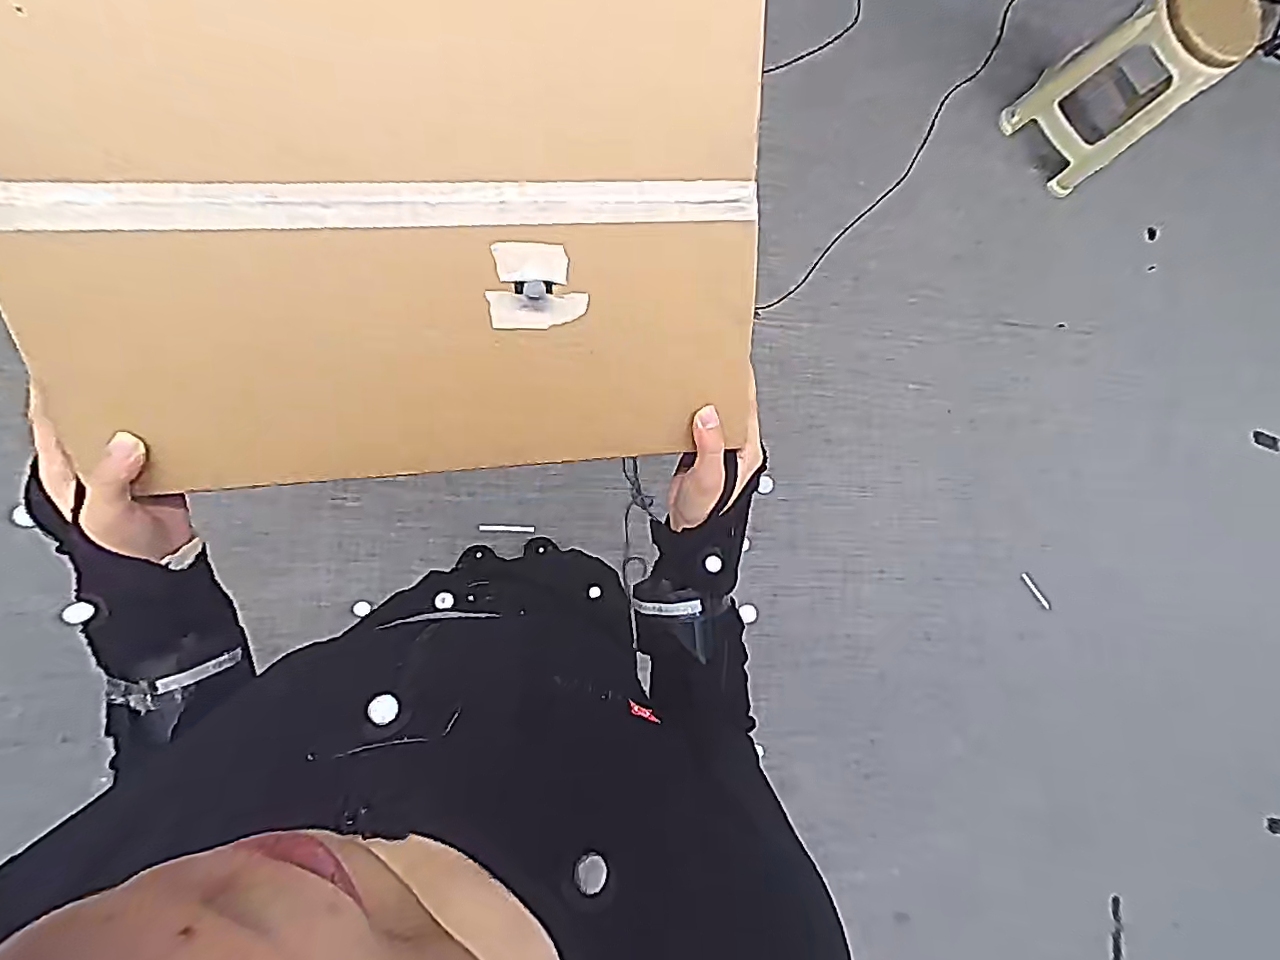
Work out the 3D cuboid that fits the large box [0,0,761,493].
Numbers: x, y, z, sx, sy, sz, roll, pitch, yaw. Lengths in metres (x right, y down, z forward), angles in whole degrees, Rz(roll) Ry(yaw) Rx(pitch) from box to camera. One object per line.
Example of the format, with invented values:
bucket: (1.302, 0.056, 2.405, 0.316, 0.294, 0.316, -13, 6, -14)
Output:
large box: (-0.154, -0.206, 0.438, 0.408, 0.320, 0.320, -6, 113, -10)
